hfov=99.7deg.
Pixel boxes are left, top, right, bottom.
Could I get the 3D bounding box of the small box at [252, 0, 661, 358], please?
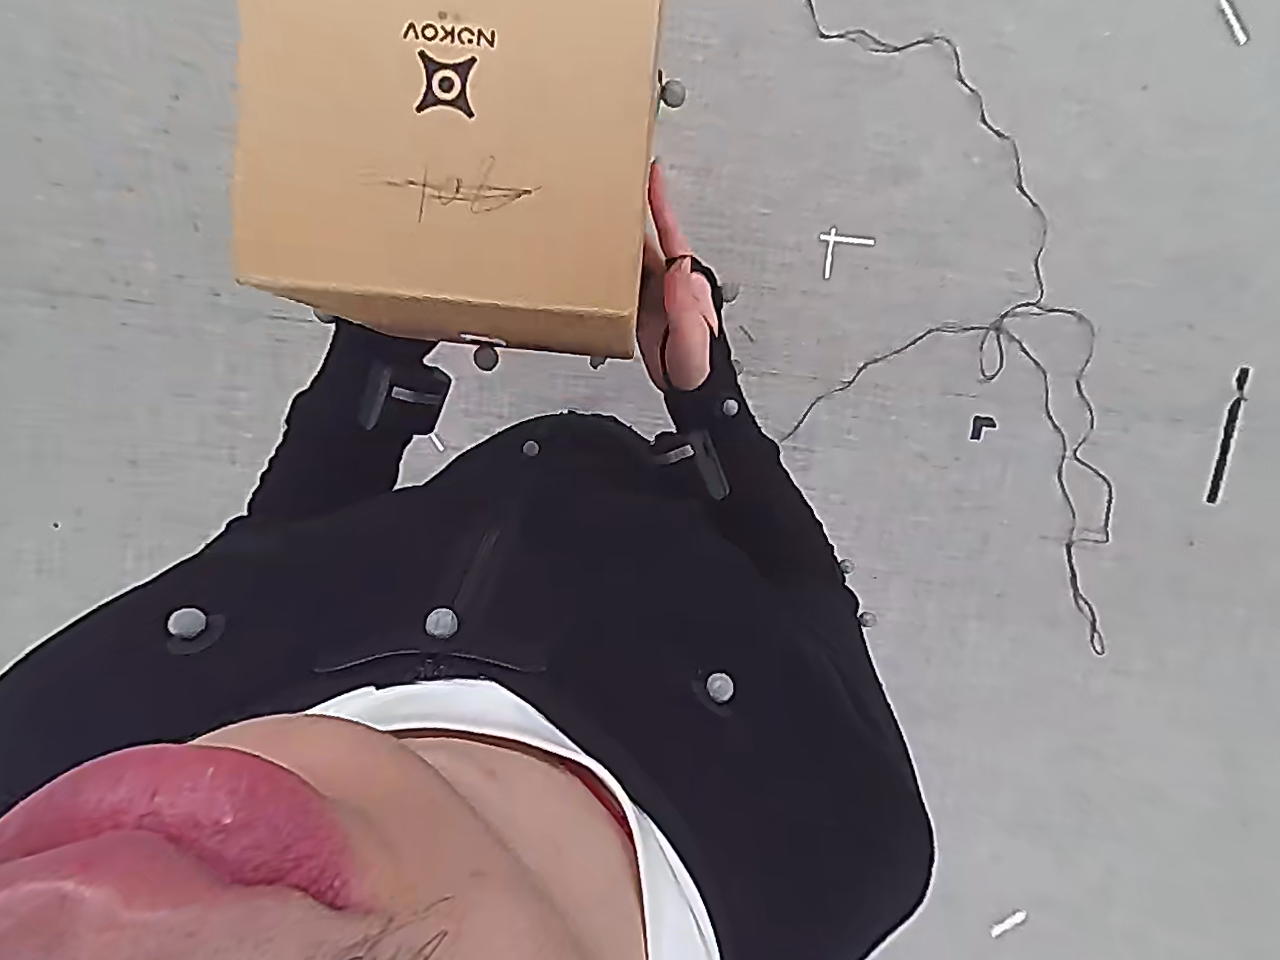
[{"bbox_3d":[-0.079,-0.172,0.306,0.168,0.176,0.179,4,97,-1],"label":"small box"}]
